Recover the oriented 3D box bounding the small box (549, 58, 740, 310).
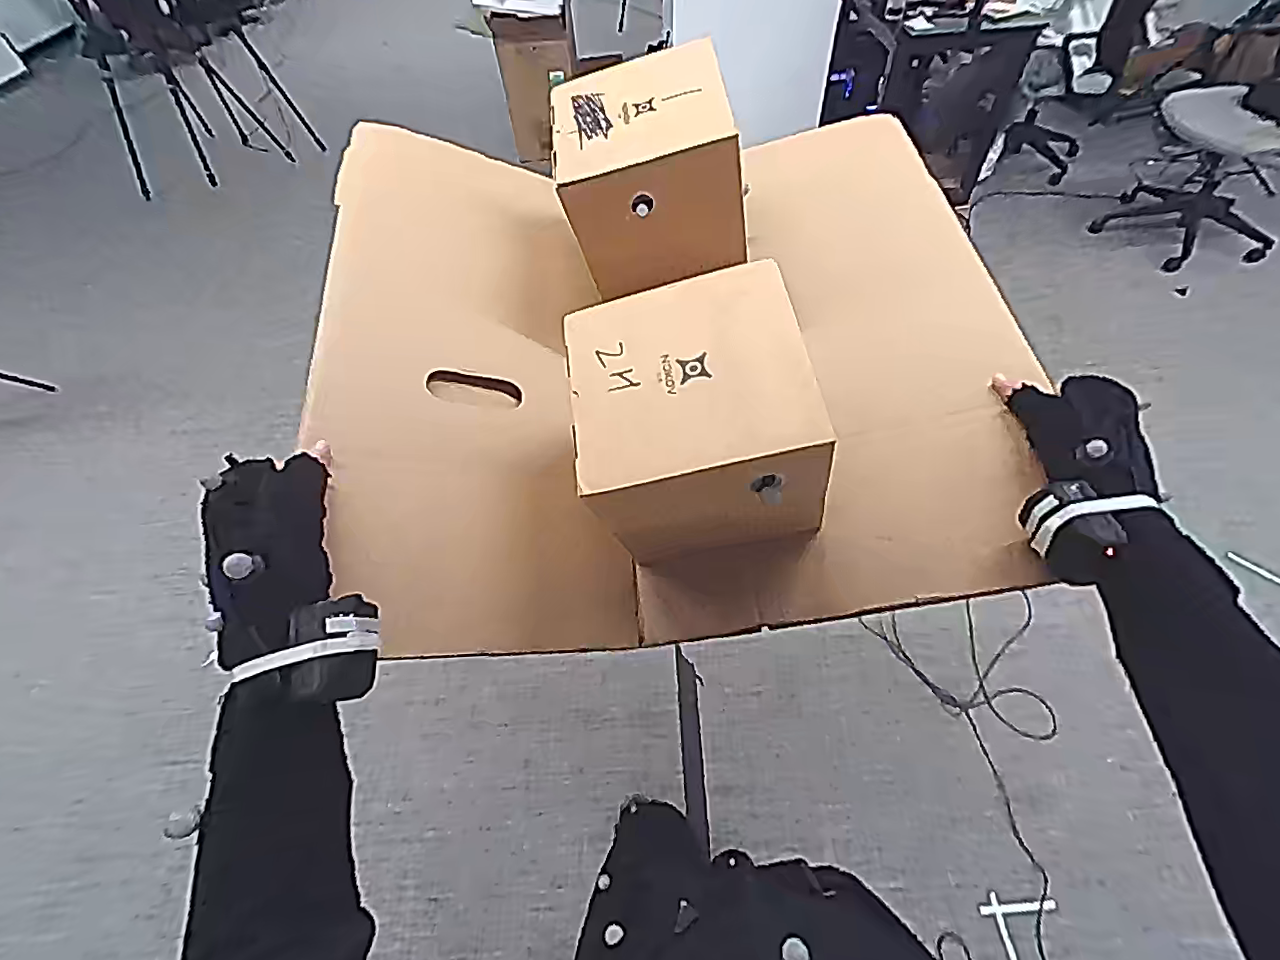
[{"bbox_3d":[0.009,-0.321,0.614,0.179,0.176,0.168,-11,63,9],"label":"small box"}]

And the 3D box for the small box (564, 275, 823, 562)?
[{"bbox_3d":[0.047,-0.039,0.474,0.179,0.176,0.168,-13,63,10],"label":"small box"}]
